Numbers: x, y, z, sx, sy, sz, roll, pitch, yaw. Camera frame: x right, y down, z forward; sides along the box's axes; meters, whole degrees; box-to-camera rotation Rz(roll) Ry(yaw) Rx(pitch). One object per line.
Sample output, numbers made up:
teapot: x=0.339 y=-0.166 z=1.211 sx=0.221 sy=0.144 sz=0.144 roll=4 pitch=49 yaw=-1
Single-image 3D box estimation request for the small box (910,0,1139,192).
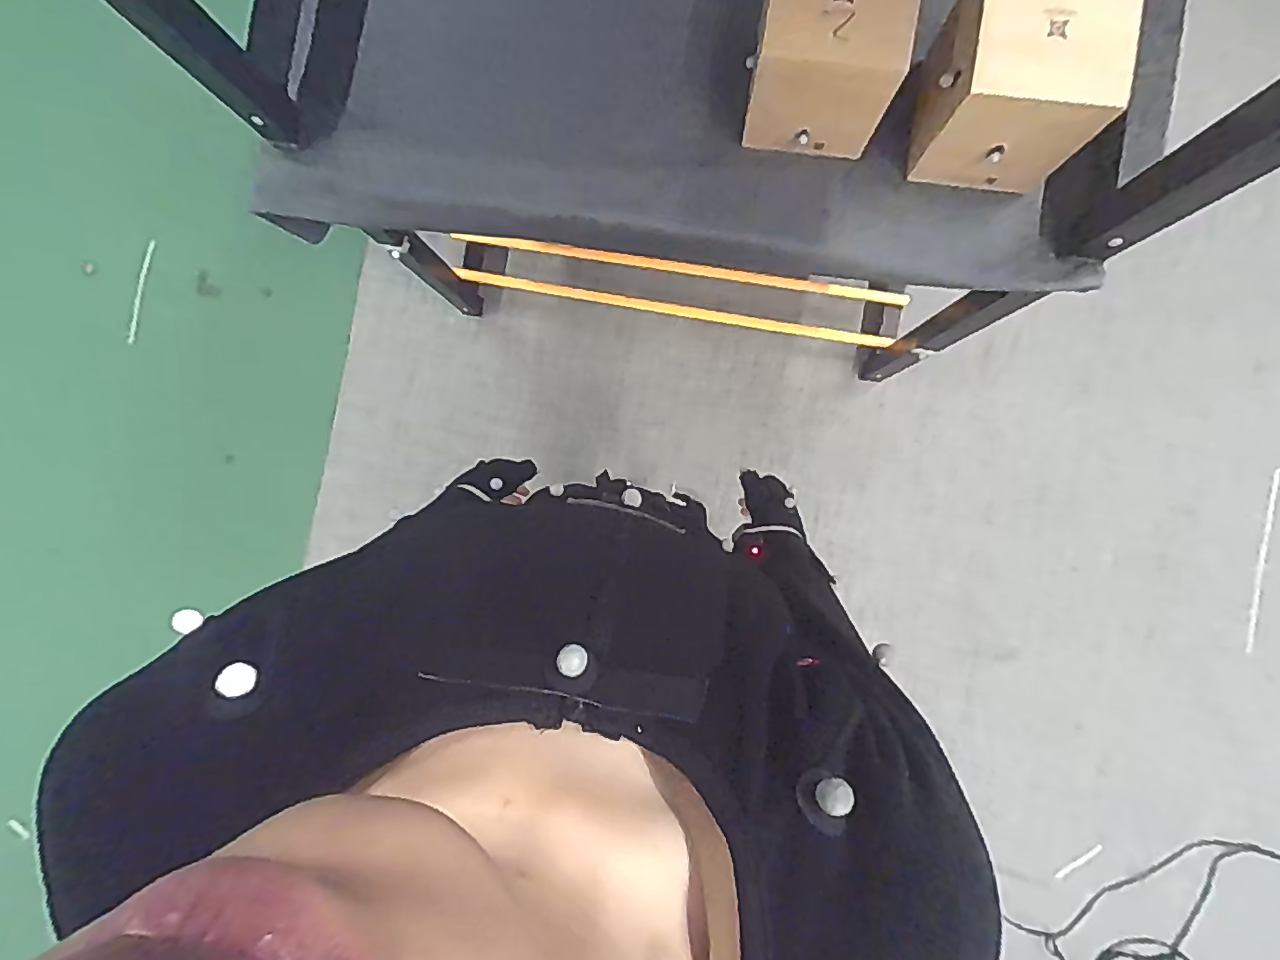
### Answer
small box: x=0.457 y=-0.489 z=0.668 sx=0.168 sy=0.176 sz=0.179 roll=8 pitch=88 yaw=4
